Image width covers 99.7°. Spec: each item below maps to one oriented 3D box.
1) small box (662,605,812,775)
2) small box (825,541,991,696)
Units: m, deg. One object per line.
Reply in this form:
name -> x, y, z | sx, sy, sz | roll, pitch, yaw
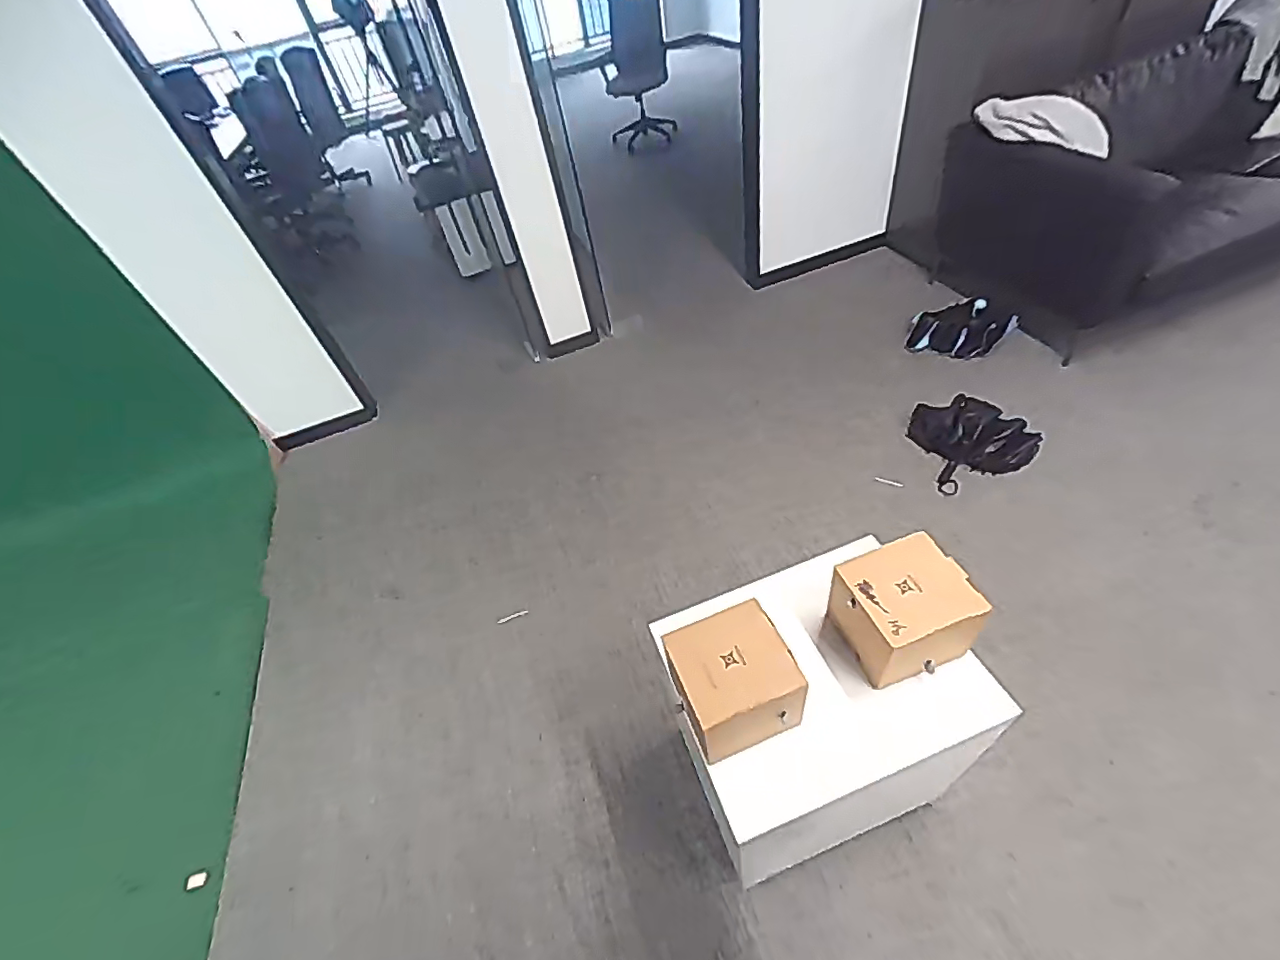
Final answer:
small box -> 0.149, 0.340, 0.873 | 0.179, 0.176, 0.168 | -21, 45, -11
small box -> 0.441, 0.238, 0.924 | 0.179, 0.176, 0.168 | -18, 46, -9
